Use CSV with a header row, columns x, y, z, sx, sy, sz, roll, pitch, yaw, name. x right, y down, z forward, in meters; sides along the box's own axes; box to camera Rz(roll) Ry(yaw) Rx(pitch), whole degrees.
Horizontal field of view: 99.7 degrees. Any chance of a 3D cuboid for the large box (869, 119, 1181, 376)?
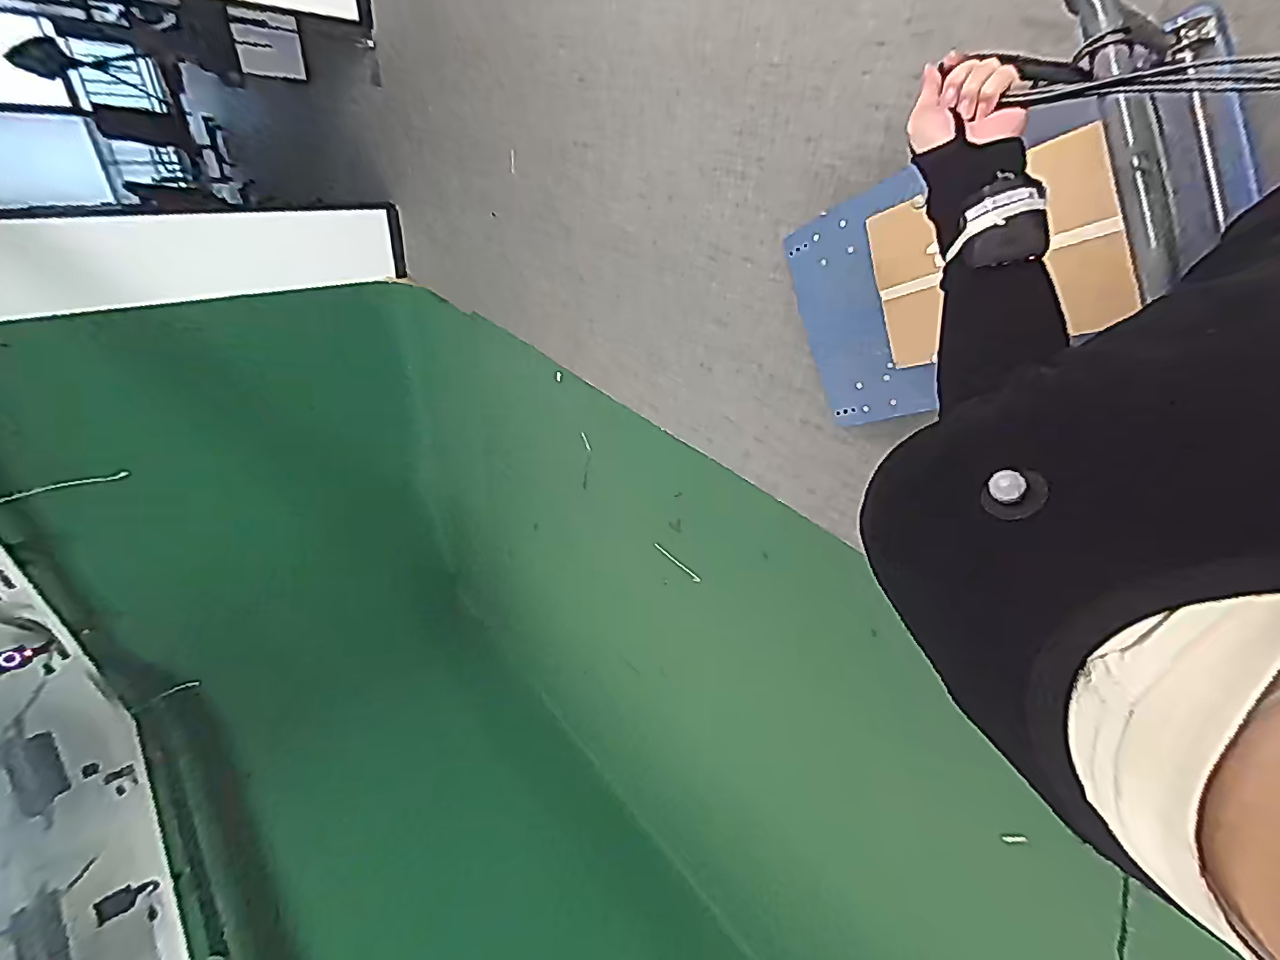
x,y,z,sx,sy,sz,roll,pitch,yaw,name
0.734,-0.422,1.047,0.408,0.320,0.320,-4,106,51,large box
